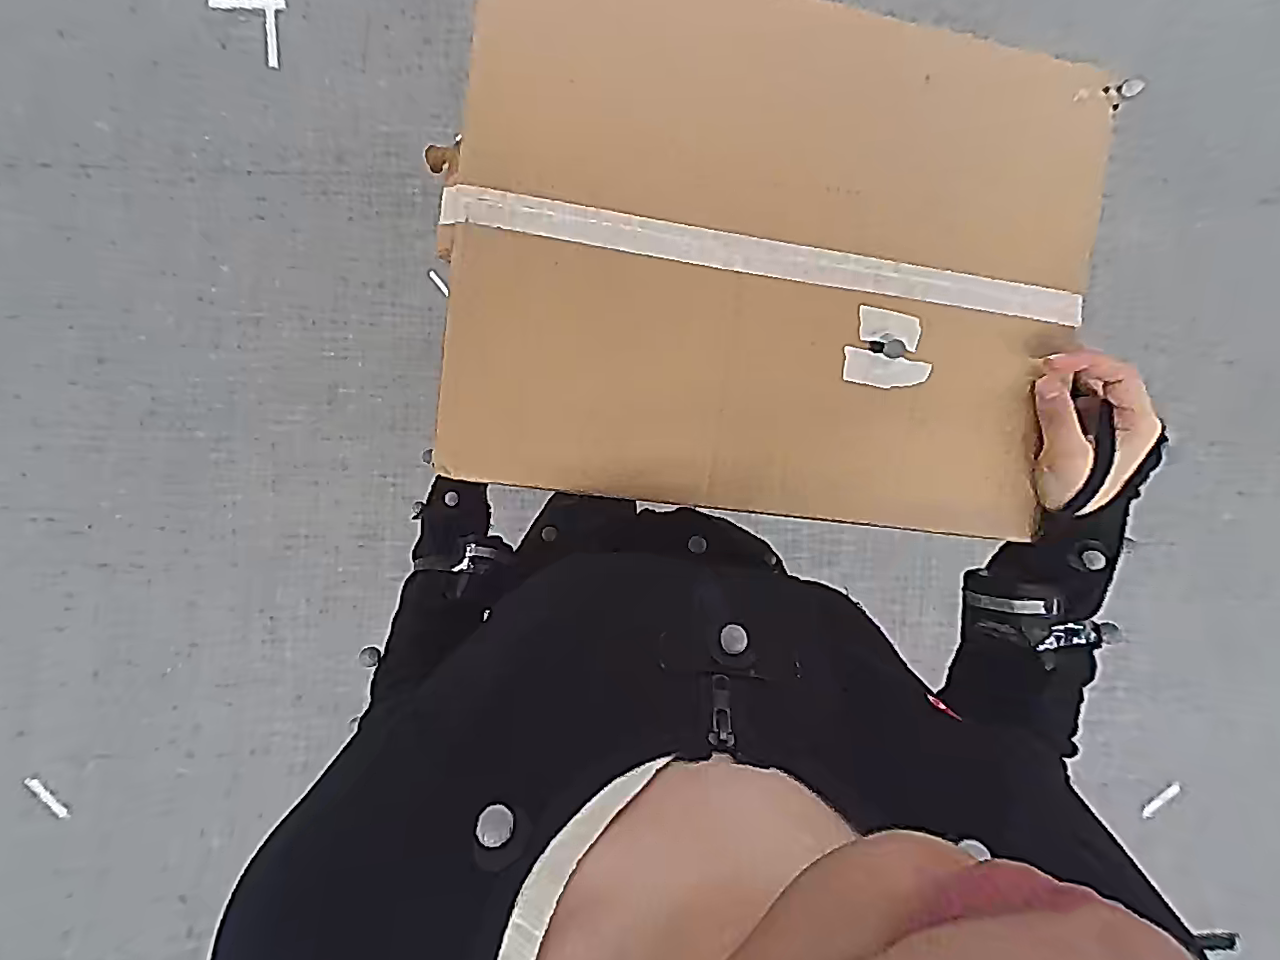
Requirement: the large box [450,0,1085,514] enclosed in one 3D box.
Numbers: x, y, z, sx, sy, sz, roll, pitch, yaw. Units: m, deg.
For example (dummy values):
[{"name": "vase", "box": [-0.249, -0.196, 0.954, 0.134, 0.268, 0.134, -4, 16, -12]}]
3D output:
[{"name": "large box", "box": [0.071, -0.155, 0.491, 0.408, 0.320, 0.320, 7, 94, -9]}]
